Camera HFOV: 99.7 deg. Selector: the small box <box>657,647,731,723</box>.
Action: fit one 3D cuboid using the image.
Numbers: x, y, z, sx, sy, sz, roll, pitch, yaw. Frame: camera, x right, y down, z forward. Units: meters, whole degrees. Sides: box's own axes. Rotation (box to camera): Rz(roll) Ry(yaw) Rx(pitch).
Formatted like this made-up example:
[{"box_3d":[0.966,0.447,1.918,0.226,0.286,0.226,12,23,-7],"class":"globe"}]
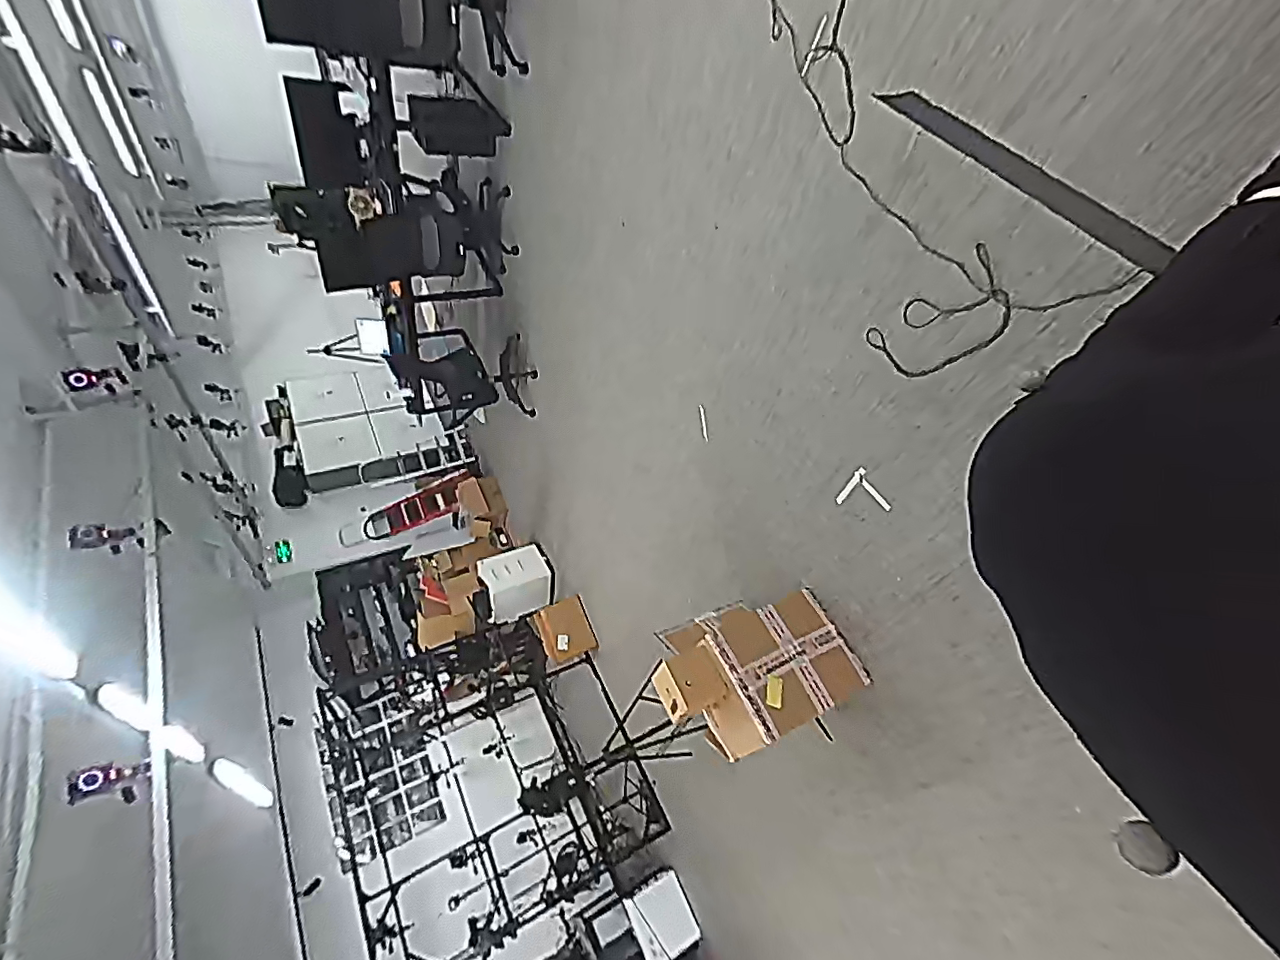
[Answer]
[{"box_3d":[0.190,0.707,1.876,0.179,0.176,0.168,60,148,30],"class":"small box"}]
